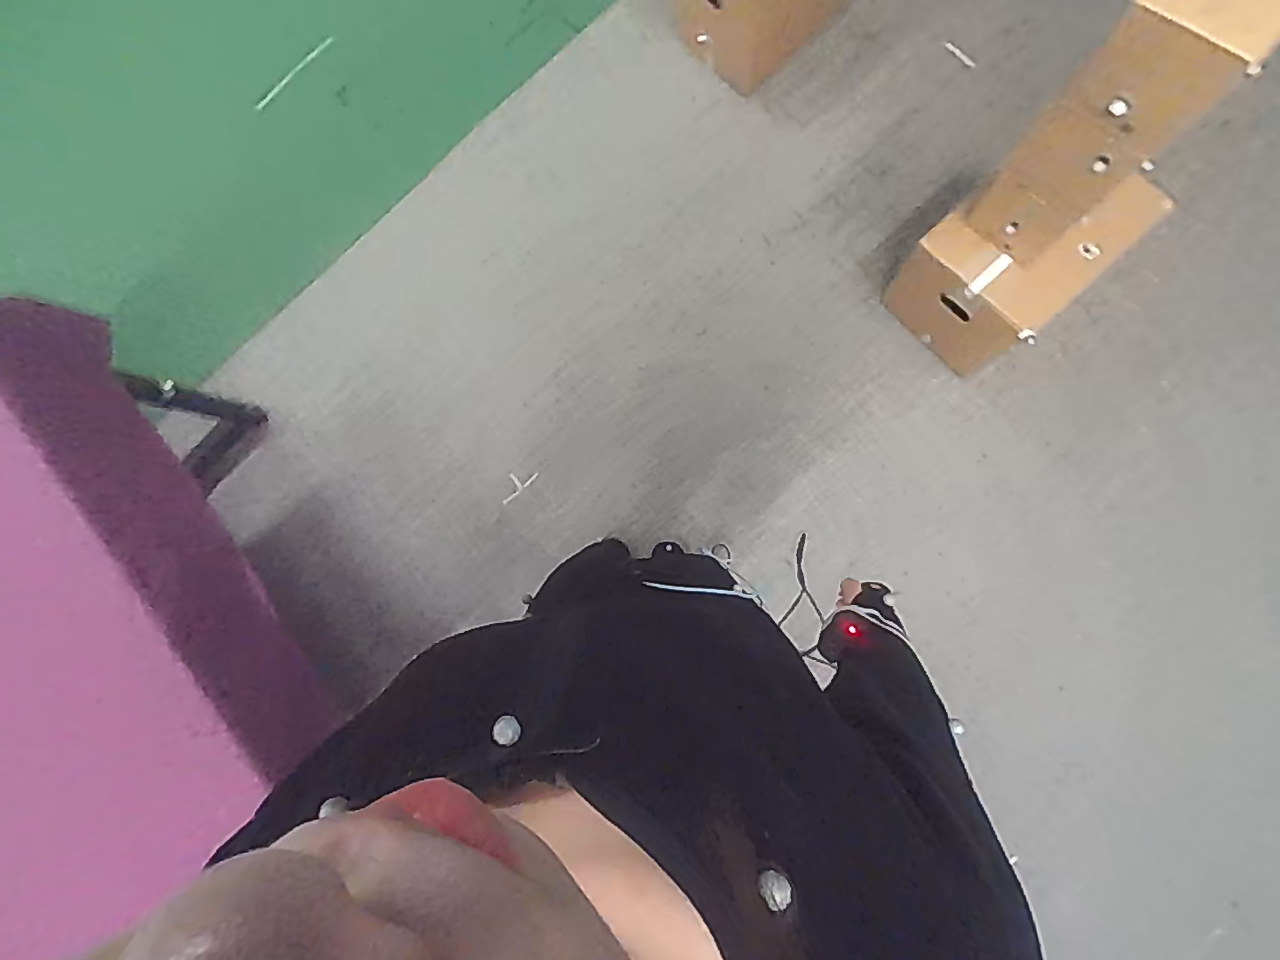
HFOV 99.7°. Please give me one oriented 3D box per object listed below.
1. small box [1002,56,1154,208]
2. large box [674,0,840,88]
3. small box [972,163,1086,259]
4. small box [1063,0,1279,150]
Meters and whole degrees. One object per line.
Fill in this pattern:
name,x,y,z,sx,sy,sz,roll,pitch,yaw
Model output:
small box,0.768,-0.595,0.906,0.168,0.176,0.179,-45,79,2
large box,0.331,-1.397,1.457,0.408,0.320,0.320,-42,80,2
small box,0.798,-0.580,1.068,0.179,0.176,0.168,-46,79,3
small box,0.747,-0.614,0.743,0.168,0.176,0.179,42,93,11
